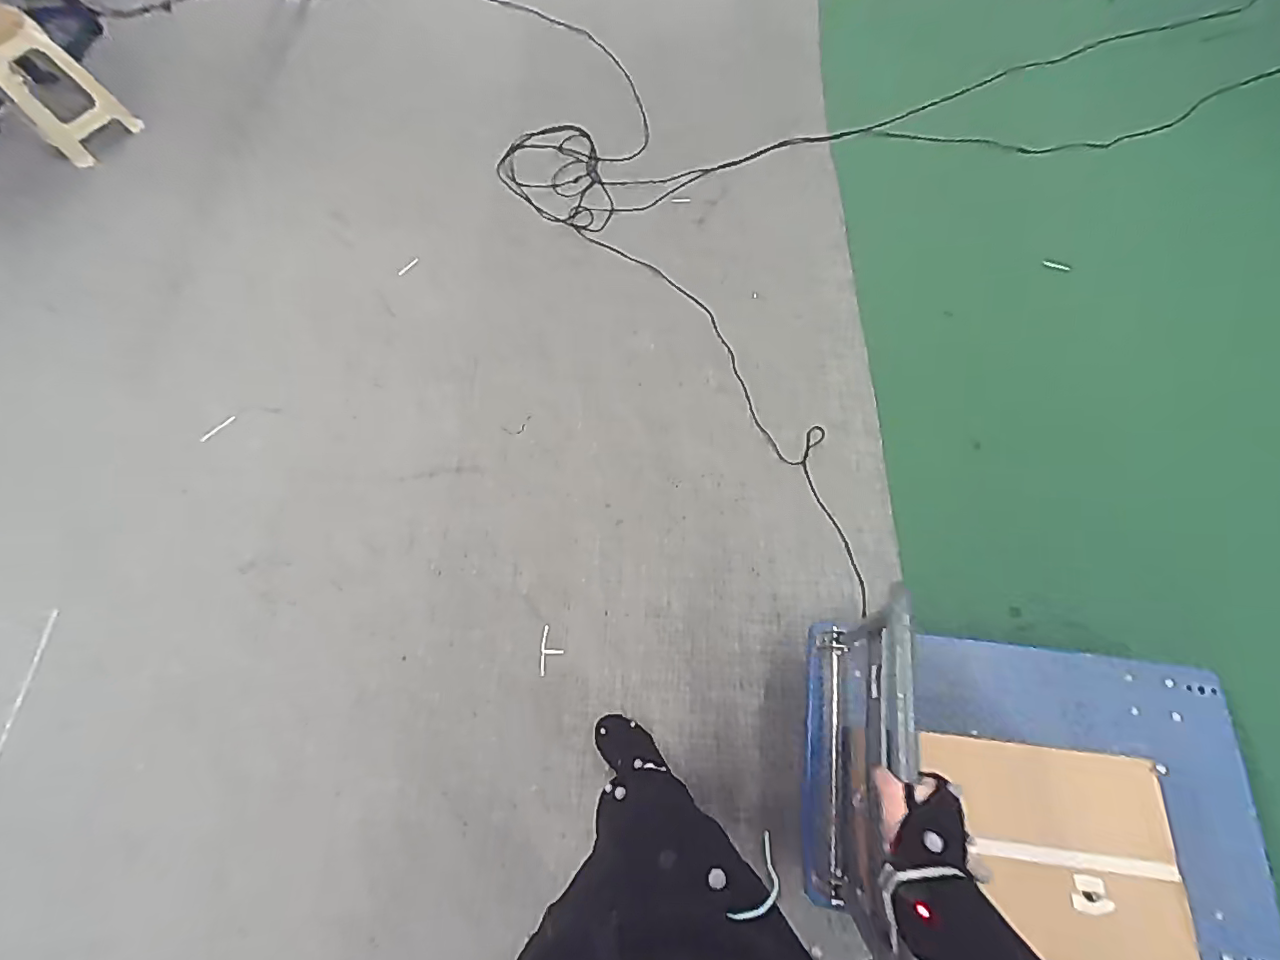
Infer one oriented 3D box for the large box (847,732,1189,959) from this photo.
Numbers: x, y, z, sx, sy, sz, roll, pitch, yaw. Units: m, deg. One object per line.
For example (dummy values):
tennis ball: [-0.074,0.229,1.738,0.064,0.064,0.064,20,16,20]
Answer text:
large box: [0.631,0.652,0.992,0.408,0.320,0.320,5,68,6]
